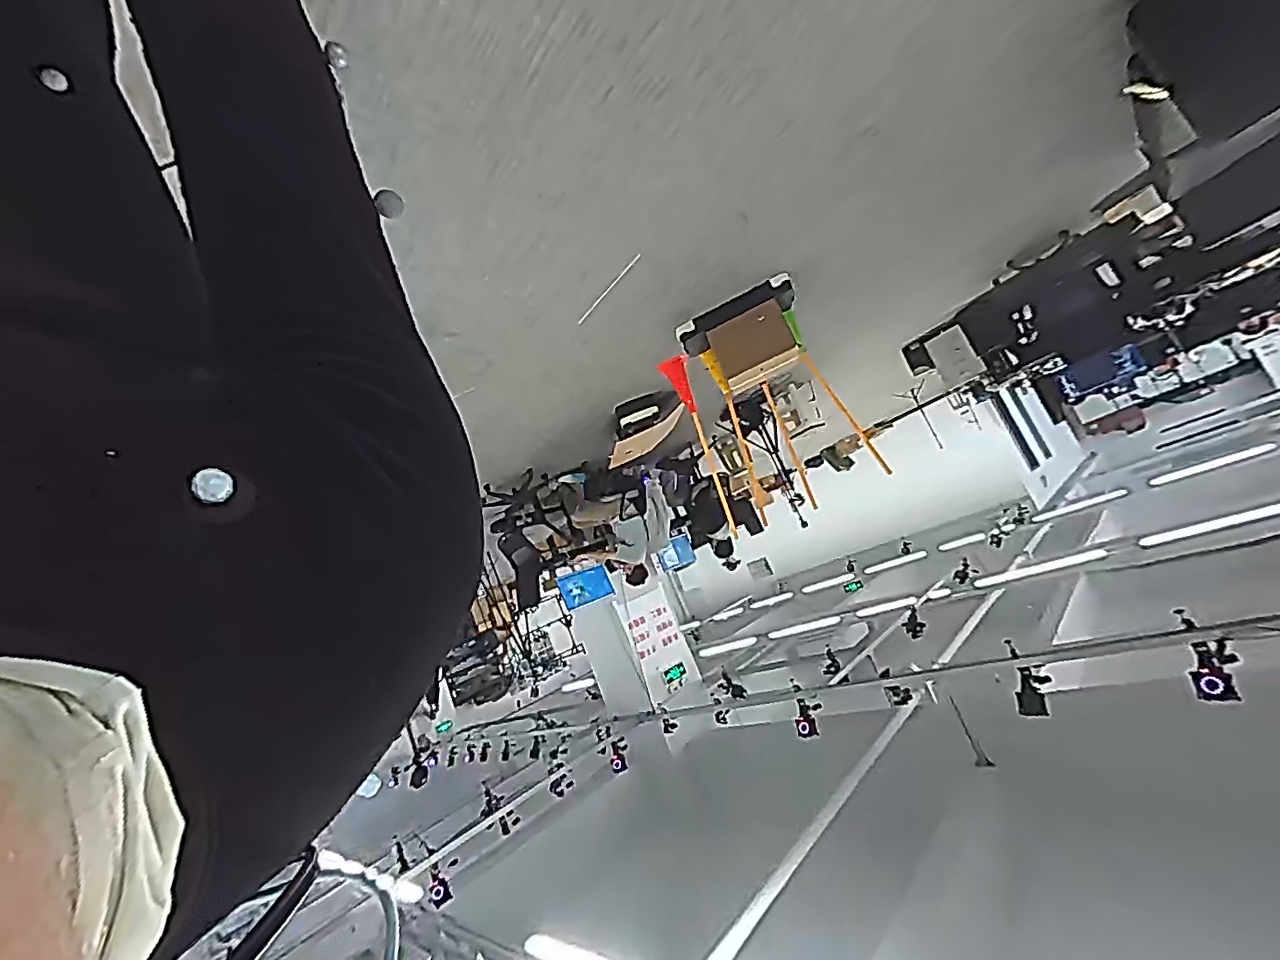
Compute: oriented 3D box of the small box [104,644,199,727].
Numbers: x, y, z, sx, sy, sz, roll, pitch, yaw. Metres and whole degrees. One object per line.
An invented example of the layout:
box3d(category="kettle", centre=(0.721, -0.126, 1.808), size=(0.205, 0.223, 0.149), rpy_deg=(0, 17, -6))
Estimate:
box3d(category="small box", centre=(-1.414, 0.592, 1.569), size=(0.179, 0.176, 0.168), rpy_deg=(-13, 166, -44))
